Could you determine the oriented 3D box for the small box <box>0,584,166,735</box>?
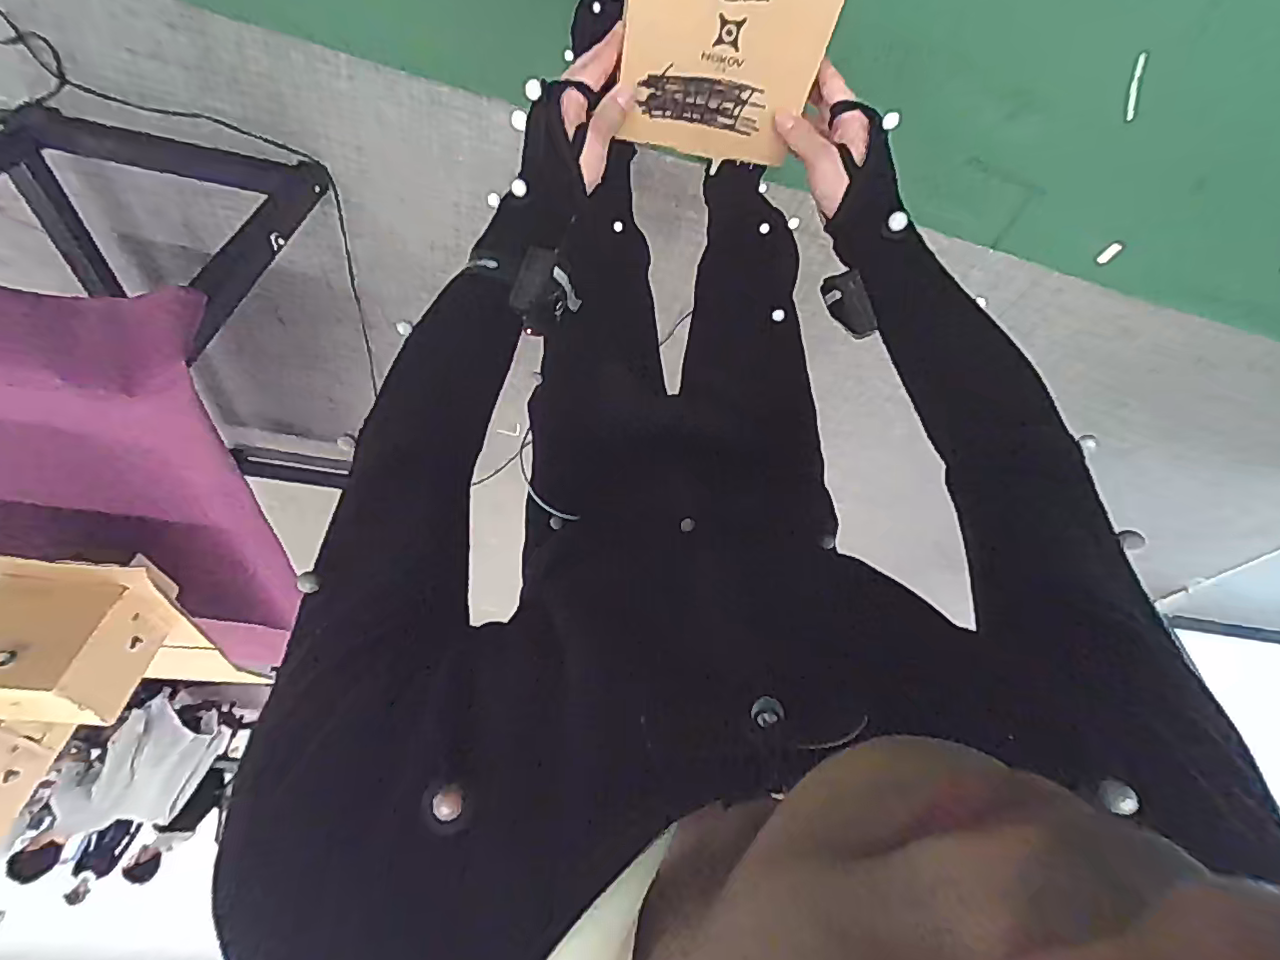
[{"bbox_3d":[-0.903,0.276,0.834,0.179,0.176,0.168,8,139,-9],"label":"small box"}]

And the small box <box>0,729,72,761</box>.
[{"bbox_3d":[-1.125,0.386,0.963,0.179,0.176,0.168,8,138,-8],"label":"small box"}]

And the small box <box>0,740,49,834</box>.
[{"bbox_3d":[-1.130,0.511,0.855,0.179,0.176,0.168,7,139,-9],"label":"small box"}]
